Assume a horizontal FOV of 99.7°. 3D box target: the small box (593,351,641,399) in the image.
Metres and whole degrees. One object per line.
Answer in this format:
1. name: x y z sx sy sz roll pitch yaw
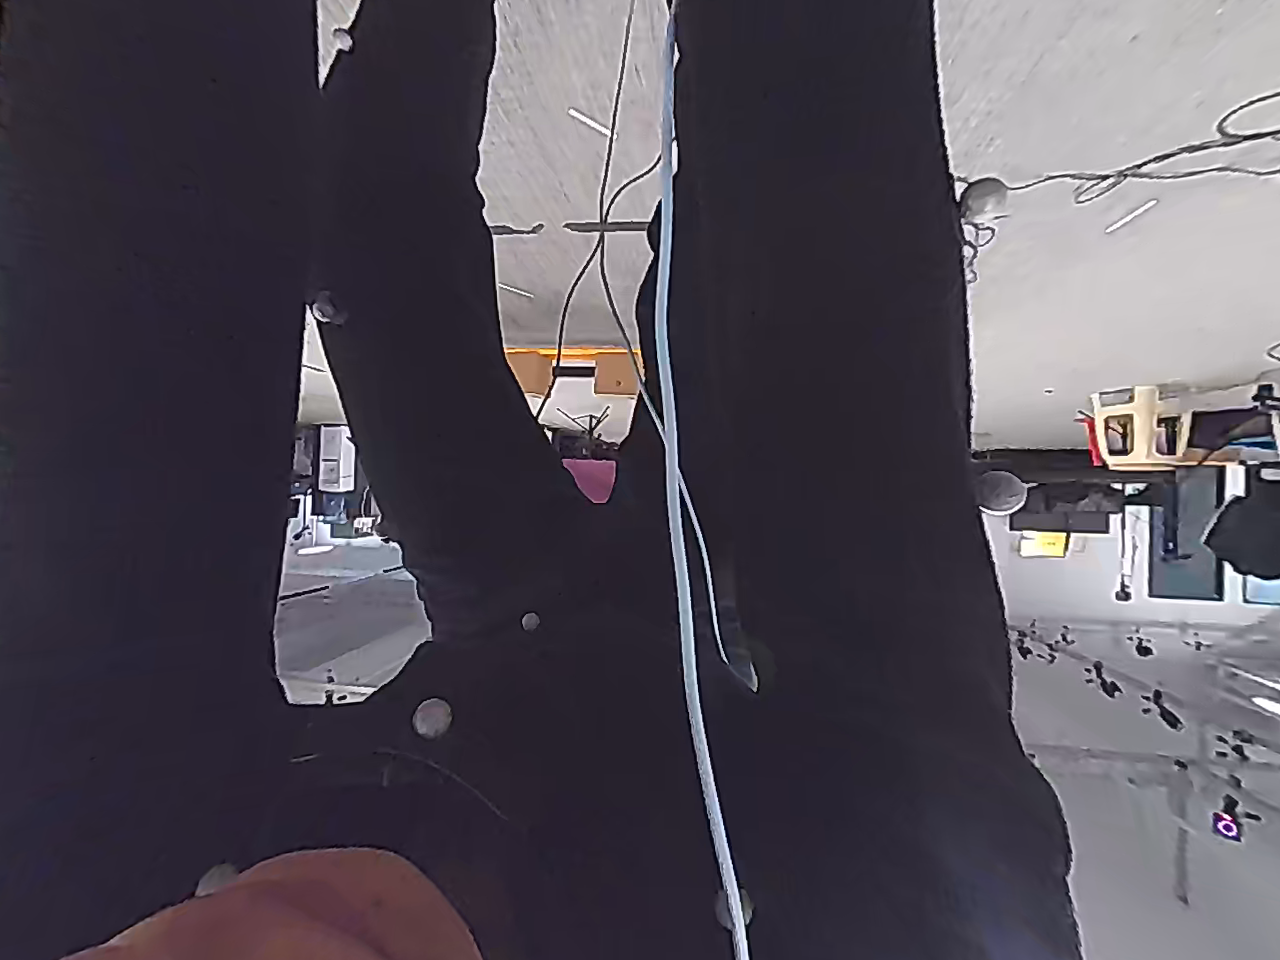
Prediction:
1. small box: -0.091 -0.433 2.231 0.179 0.176 0.168 4 180 9
